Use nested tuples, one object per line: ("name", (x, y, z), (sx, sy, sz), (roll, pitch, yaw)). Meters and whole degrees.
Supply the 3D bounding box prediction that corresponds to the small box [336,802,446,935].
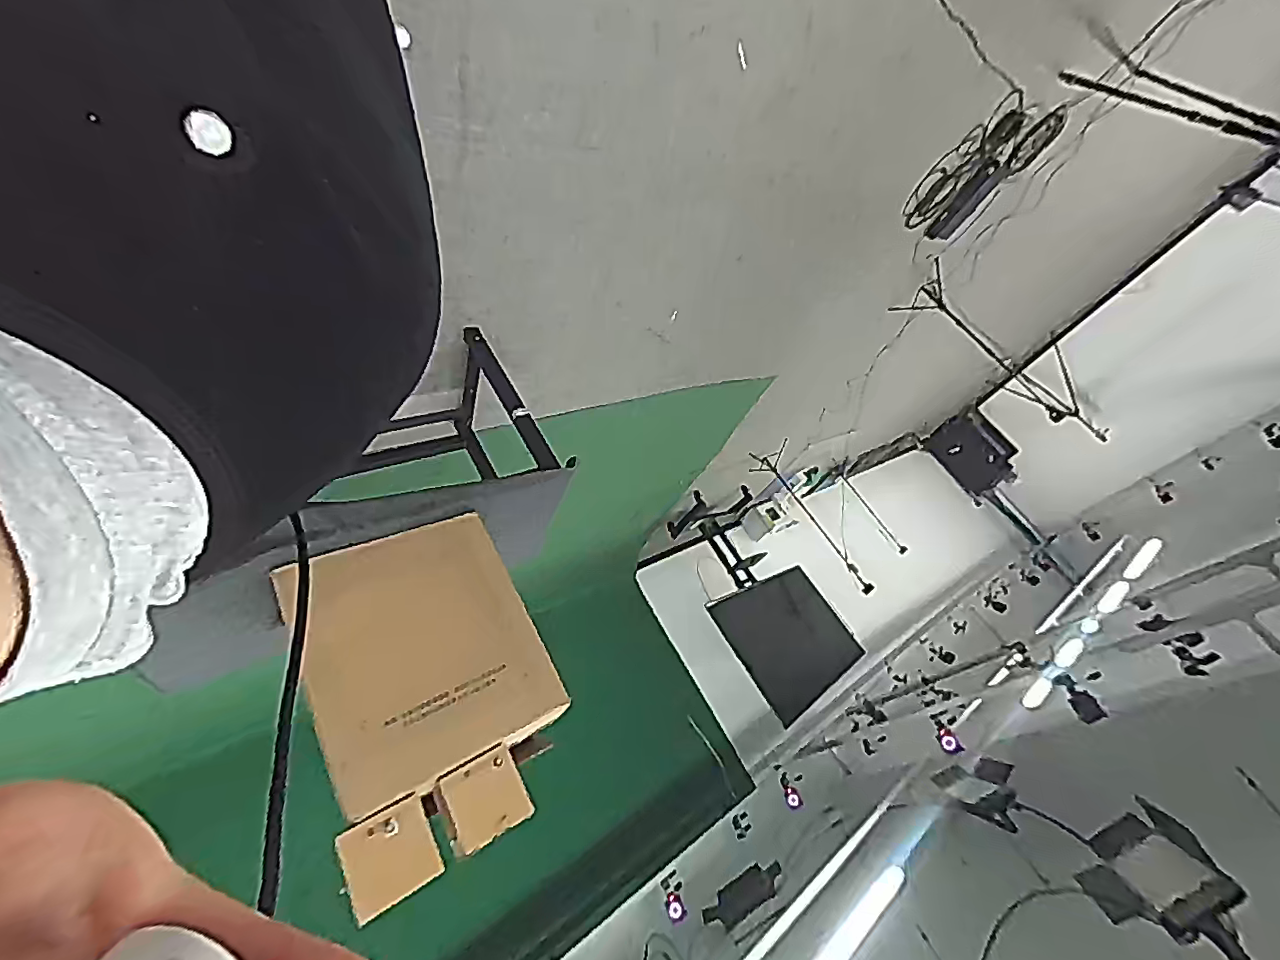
("small box", (-0.536, 0.824, 1.158), (0.168, 0.176, 0.179), (-18, 152, -37))
